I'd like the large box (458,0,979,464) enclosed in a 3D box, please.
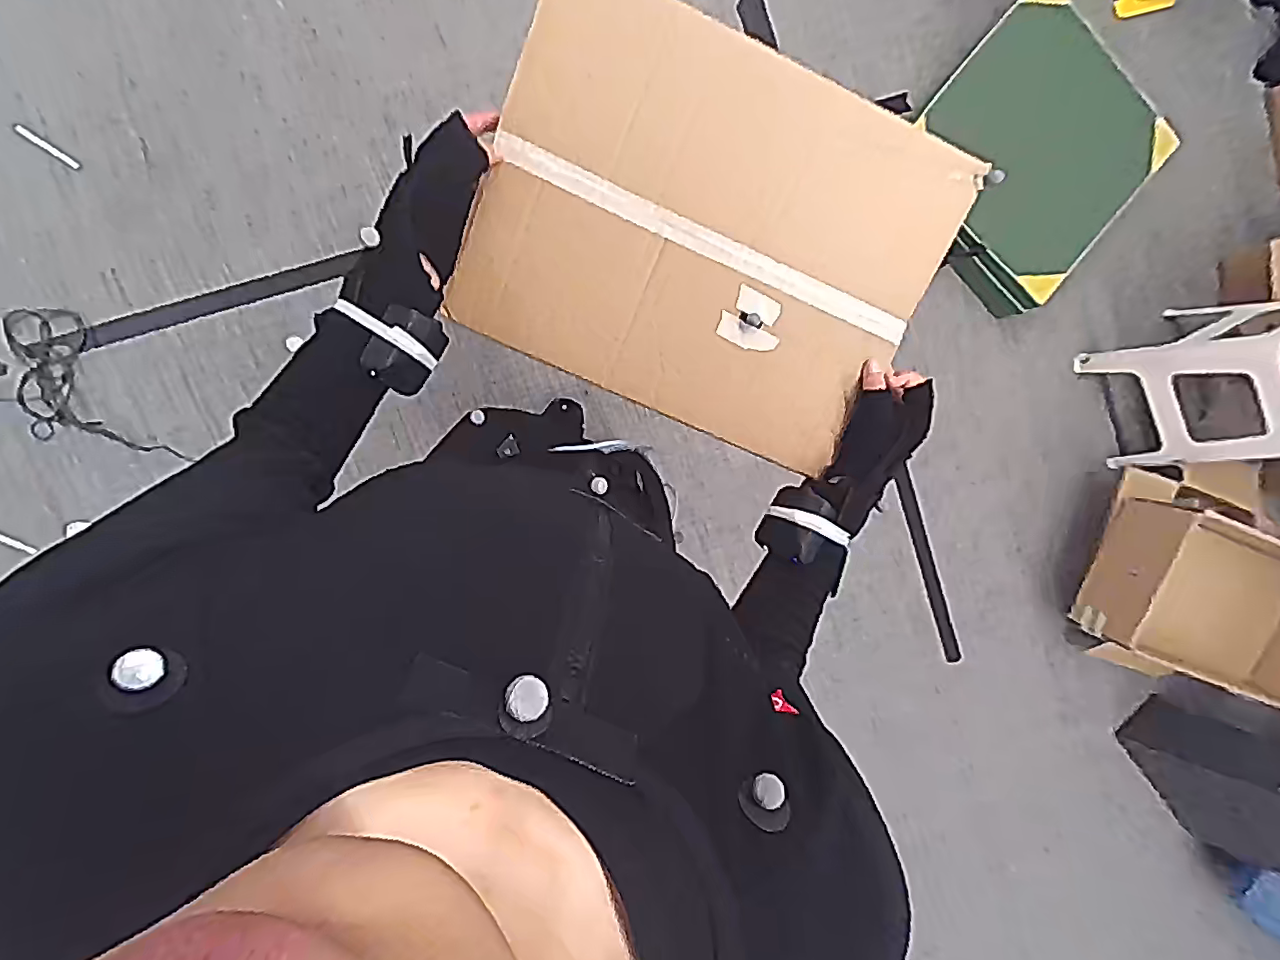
[{"bbox_3d":[0.062,-0.261,0.640,0.408,0.320,0.320,23,104,-8],"label":"large box"}]
